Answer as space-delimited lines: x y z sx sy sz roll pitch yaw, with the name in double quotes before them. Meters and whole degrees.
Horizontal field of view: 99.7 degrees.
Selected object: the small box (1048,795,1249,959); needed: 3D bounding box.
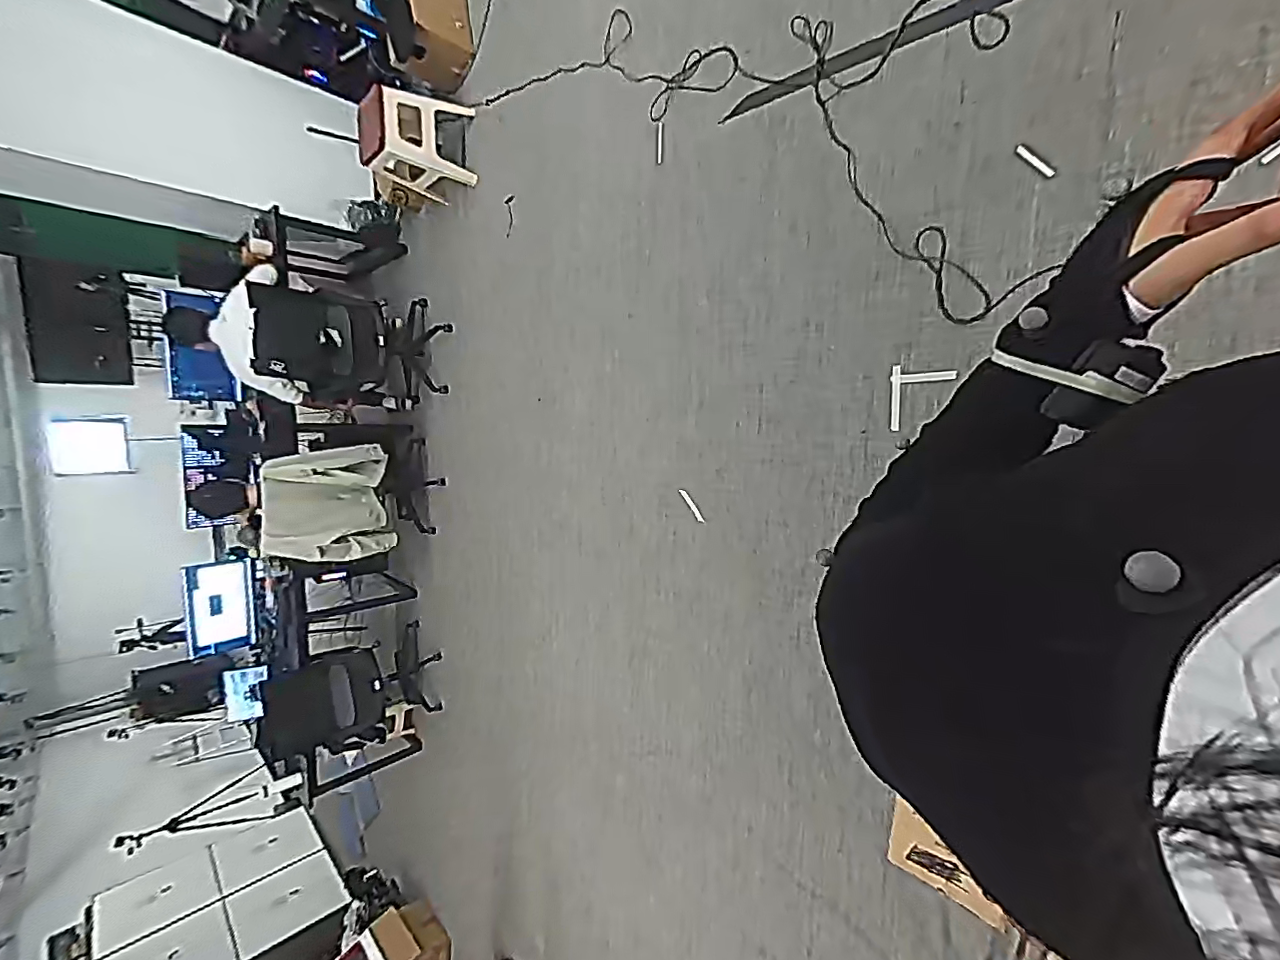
"small box" 0.680 0.577 0.738 0.168 0.176 0.179 11 100 42
